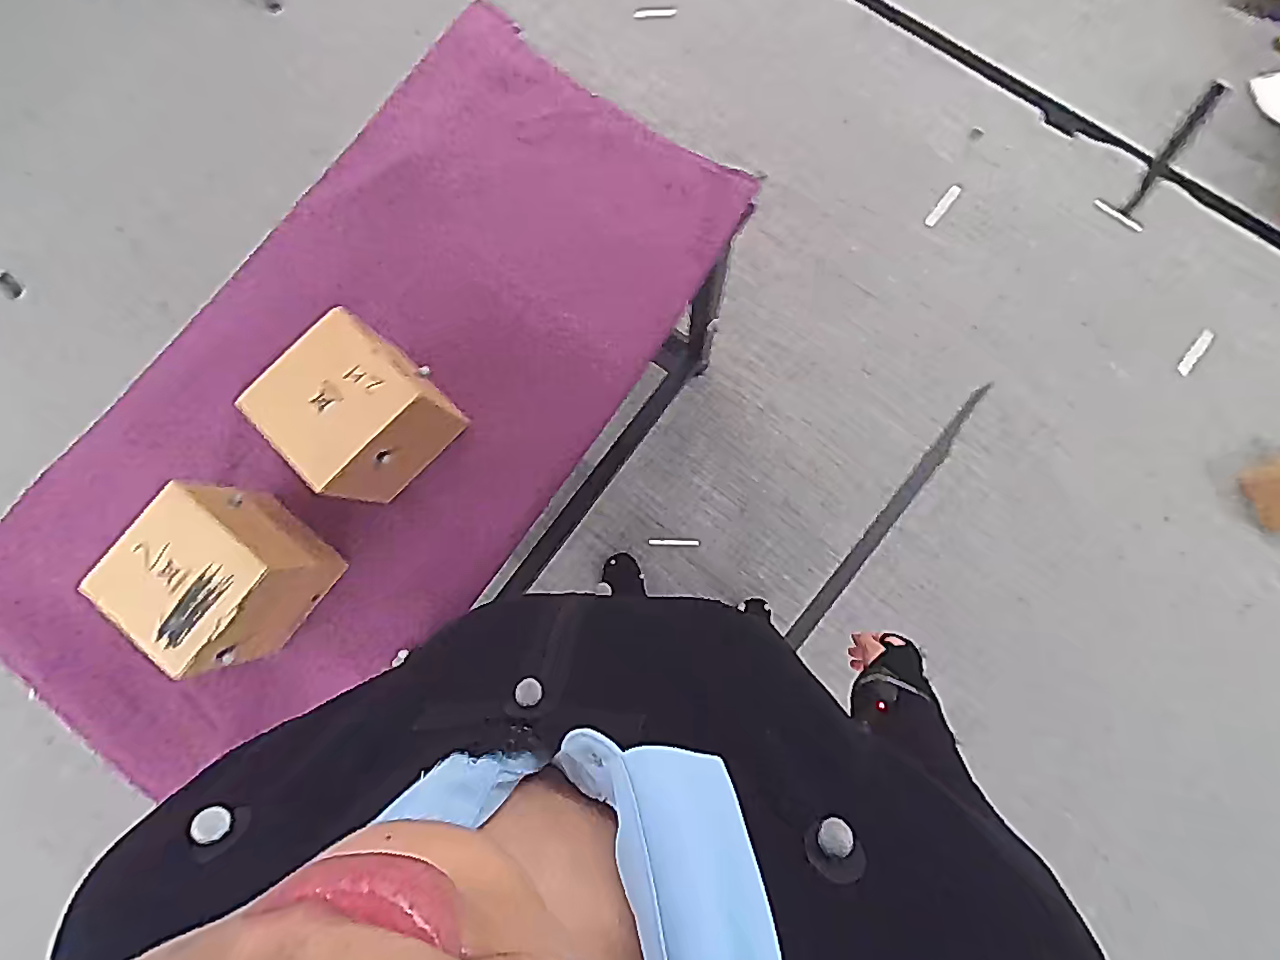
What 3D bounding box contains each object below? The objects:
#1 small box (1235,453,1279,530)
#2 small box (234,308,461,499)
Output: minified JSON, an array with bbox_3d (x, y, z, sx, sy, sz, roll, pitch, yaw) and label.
[{"bbox_3d":[1.713,0.018,1.381,0.168,0.176,0.179,-27,83,-2],"label":"small box"},{"bbox_3d":[-0.382,-0.090,0.739,0.179,0.176,0.168,-45,83,-4],"label":"small box"}]
